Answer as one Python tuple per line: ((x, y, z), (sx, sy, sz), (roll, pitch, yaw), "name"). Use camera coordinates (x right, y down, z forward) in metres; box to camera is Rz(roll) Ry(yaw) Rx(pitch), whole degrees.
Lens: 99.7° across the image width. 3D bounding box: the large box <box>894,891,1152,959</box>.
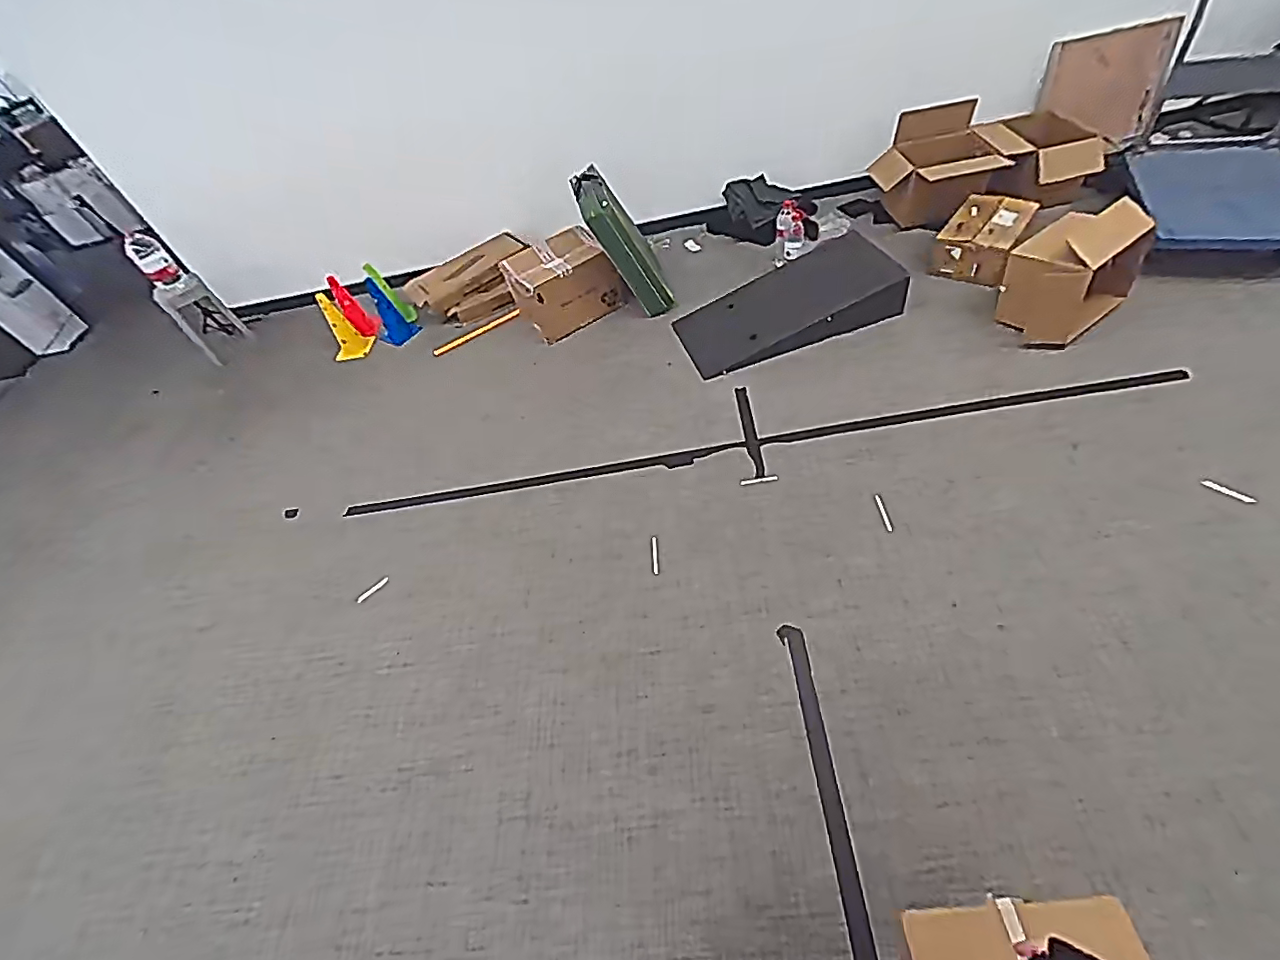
((0.622, 0.890, 0.818), (0.320, 0.320, 0.408), (-14, 50, 12), "large box")
